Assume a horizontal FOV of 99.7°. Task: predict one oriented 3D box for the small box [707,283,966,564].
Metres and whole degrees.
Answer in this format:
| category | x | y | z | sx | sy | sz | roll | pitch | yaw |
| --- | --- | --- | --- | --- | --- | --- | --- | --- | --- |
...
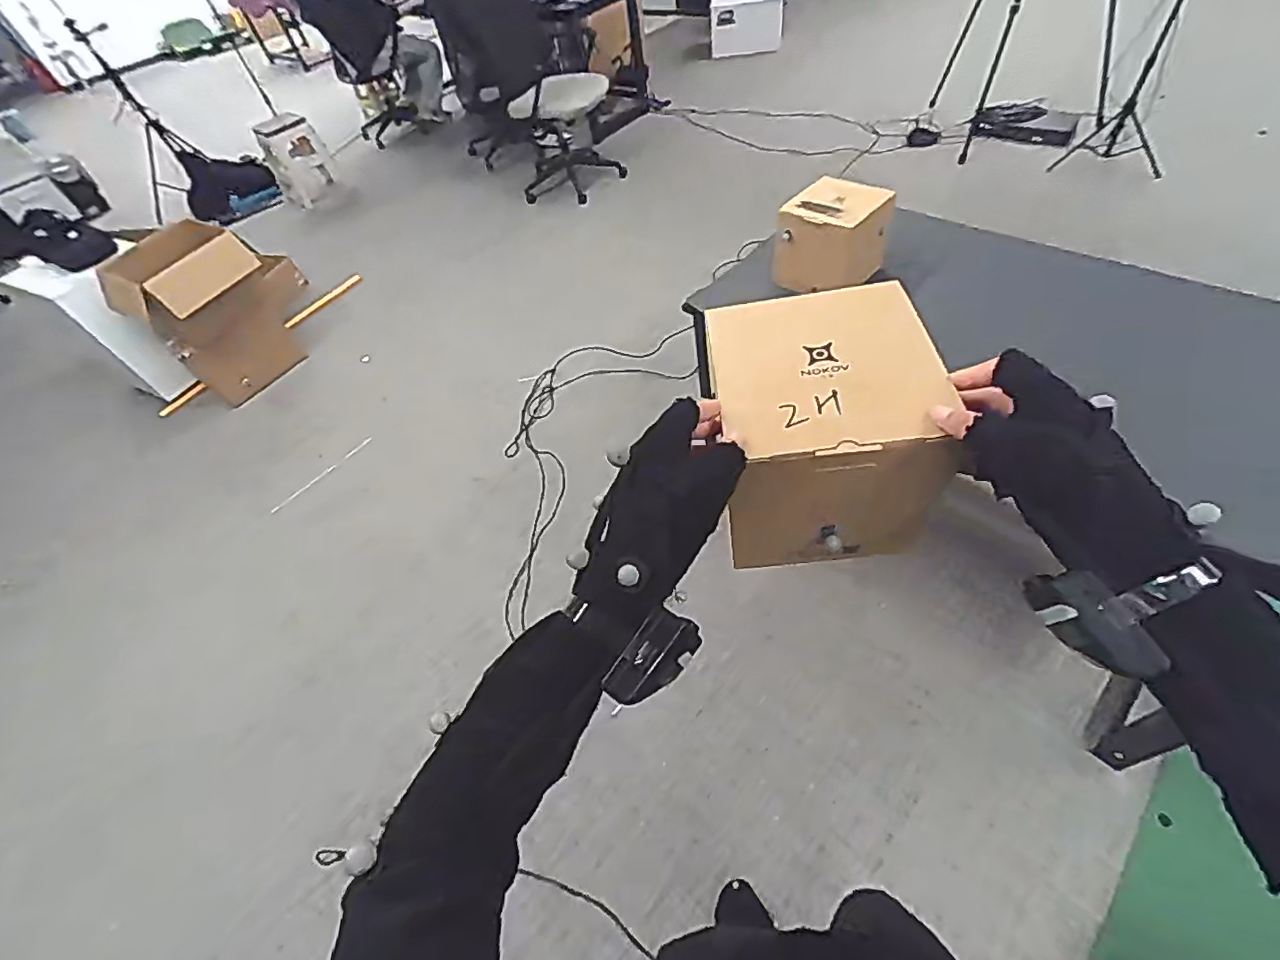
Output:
| category | x | y | z | sx | sy | sz | roll | pitch | yaw |
| --- | --- | --- | --- | --- | --- | --- | --- | --- | --- |
| small box | 0.151 | -0.044 | 0.484 | 0.168 | 0.176 | 0.179 | -7 | 54 | 7 |
